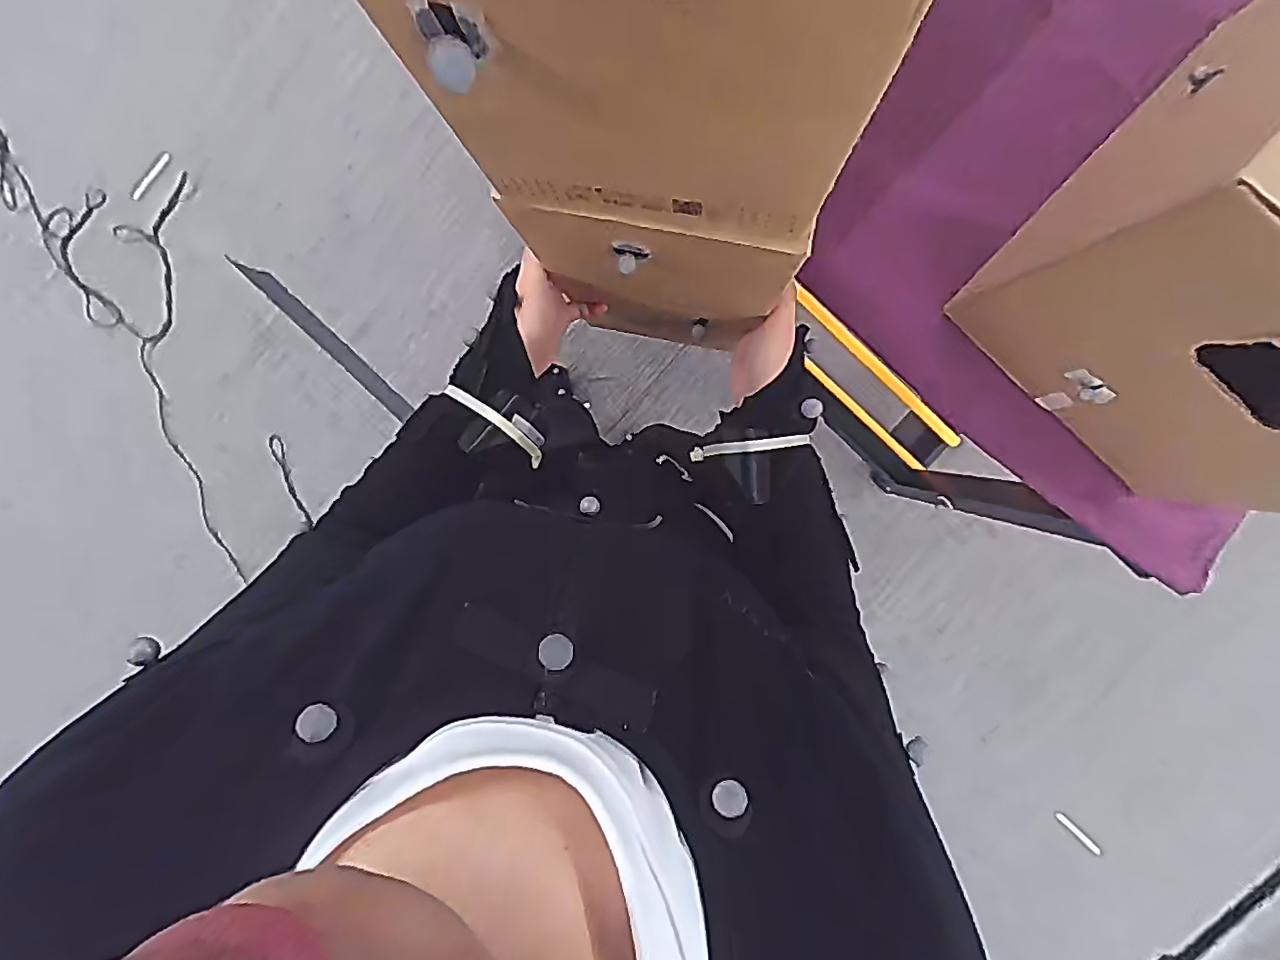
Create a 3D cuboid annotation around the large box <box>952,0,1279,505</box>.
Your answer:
[{"bbox_3d":[0.571,-0.221,0.435,0.320,0.320,0.408,42,94,-3],"label":"large box"}]

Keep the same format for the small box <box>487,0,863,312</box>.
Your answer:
[{"bbox_3d":[0.024,-0.221,0.355,0.179,0.176,0.168,11,95,3],"label":"small box"}]
